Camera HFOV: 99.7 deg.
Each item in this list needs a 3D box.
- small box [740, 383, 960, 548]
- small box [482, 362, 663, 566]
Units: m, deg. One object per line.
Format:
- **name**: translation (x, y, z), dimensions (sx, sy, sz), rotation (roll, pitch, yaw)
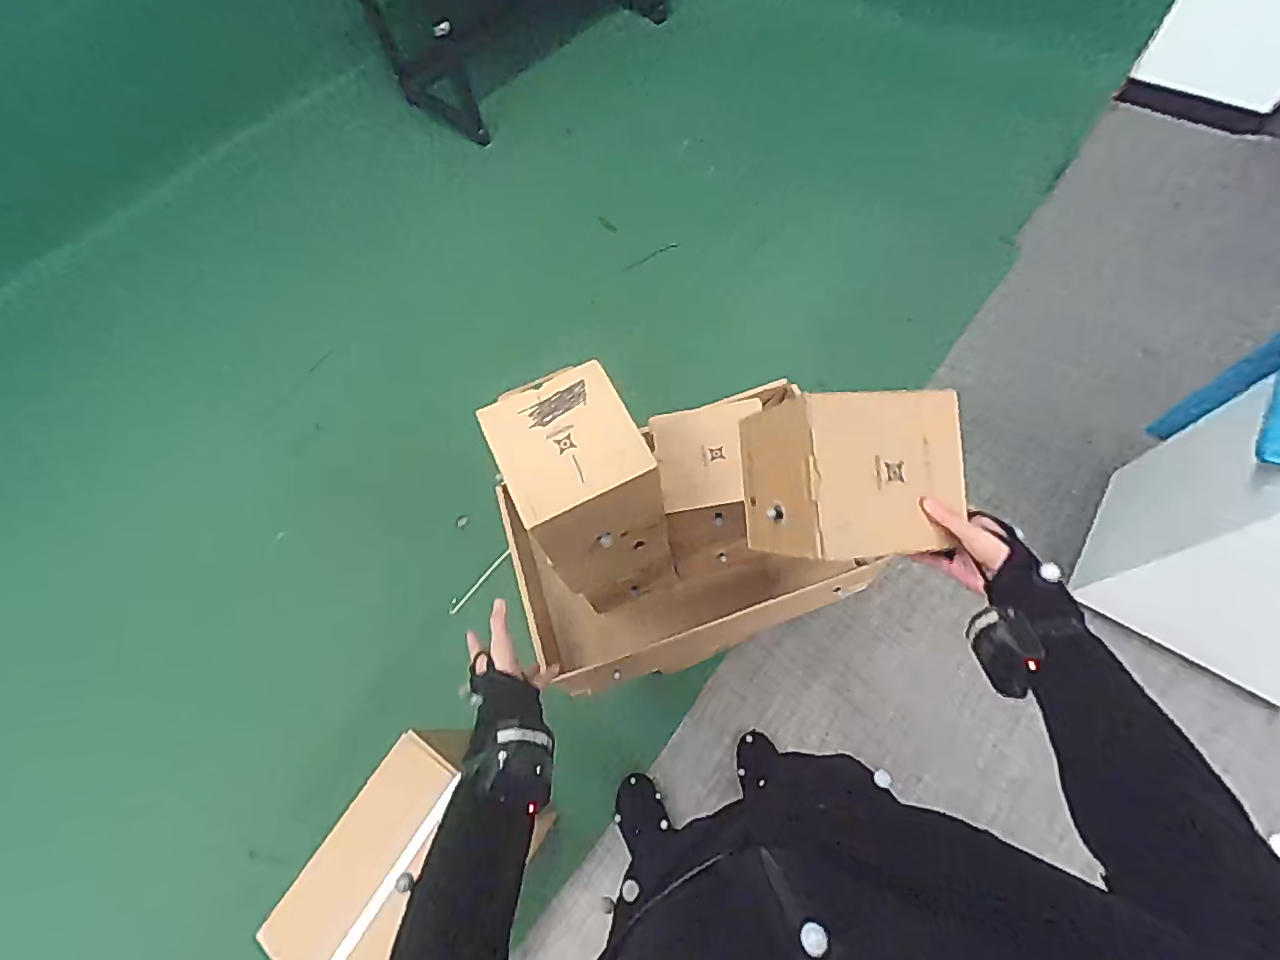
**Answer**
- **small box**: translation (0.225, -0.011, 0.624), dimensions (0.179, 0.176, 0.168), rotation (-4, 87, -13)
- **small box**: translation (-0.081, -0.014, 0.708), dimensions (0.168, 0.176, 0.179), rotation (-26, 65, -6)
